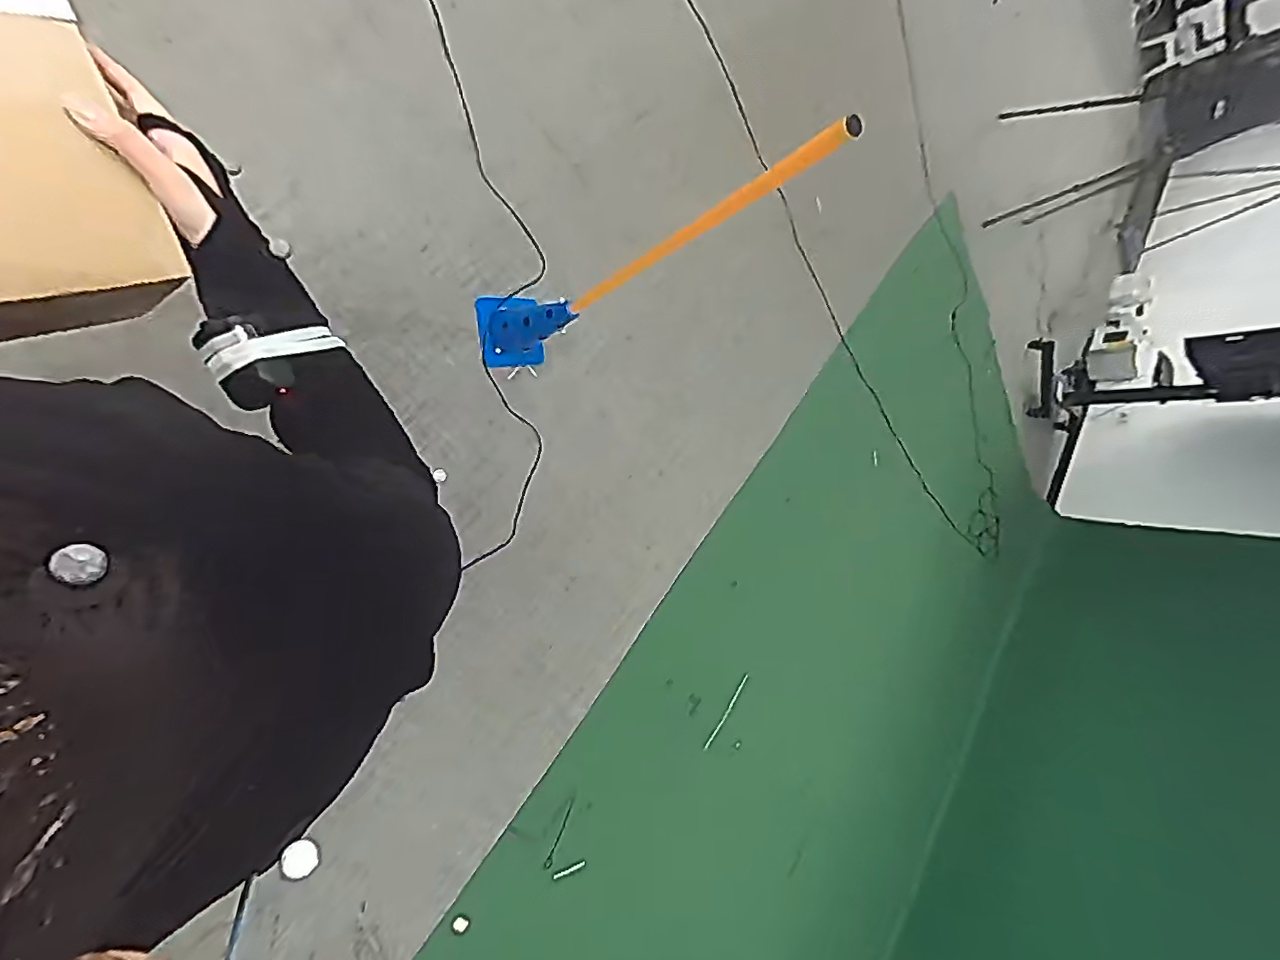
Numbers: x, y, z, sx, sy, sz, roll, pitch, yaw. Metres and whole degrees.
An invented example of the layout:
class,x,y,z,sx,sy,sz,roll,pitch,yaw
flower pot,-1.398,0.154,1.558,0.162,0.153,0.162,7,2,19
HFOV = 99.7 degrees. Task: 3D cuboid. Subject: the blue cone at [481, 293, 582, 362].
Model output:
class,x,y,z,sx,sy,sz,roll,pitch,yaw
blue cone,-0.263,-0.439,1.469,0.192,0.380,0.193,-16,104,-36
